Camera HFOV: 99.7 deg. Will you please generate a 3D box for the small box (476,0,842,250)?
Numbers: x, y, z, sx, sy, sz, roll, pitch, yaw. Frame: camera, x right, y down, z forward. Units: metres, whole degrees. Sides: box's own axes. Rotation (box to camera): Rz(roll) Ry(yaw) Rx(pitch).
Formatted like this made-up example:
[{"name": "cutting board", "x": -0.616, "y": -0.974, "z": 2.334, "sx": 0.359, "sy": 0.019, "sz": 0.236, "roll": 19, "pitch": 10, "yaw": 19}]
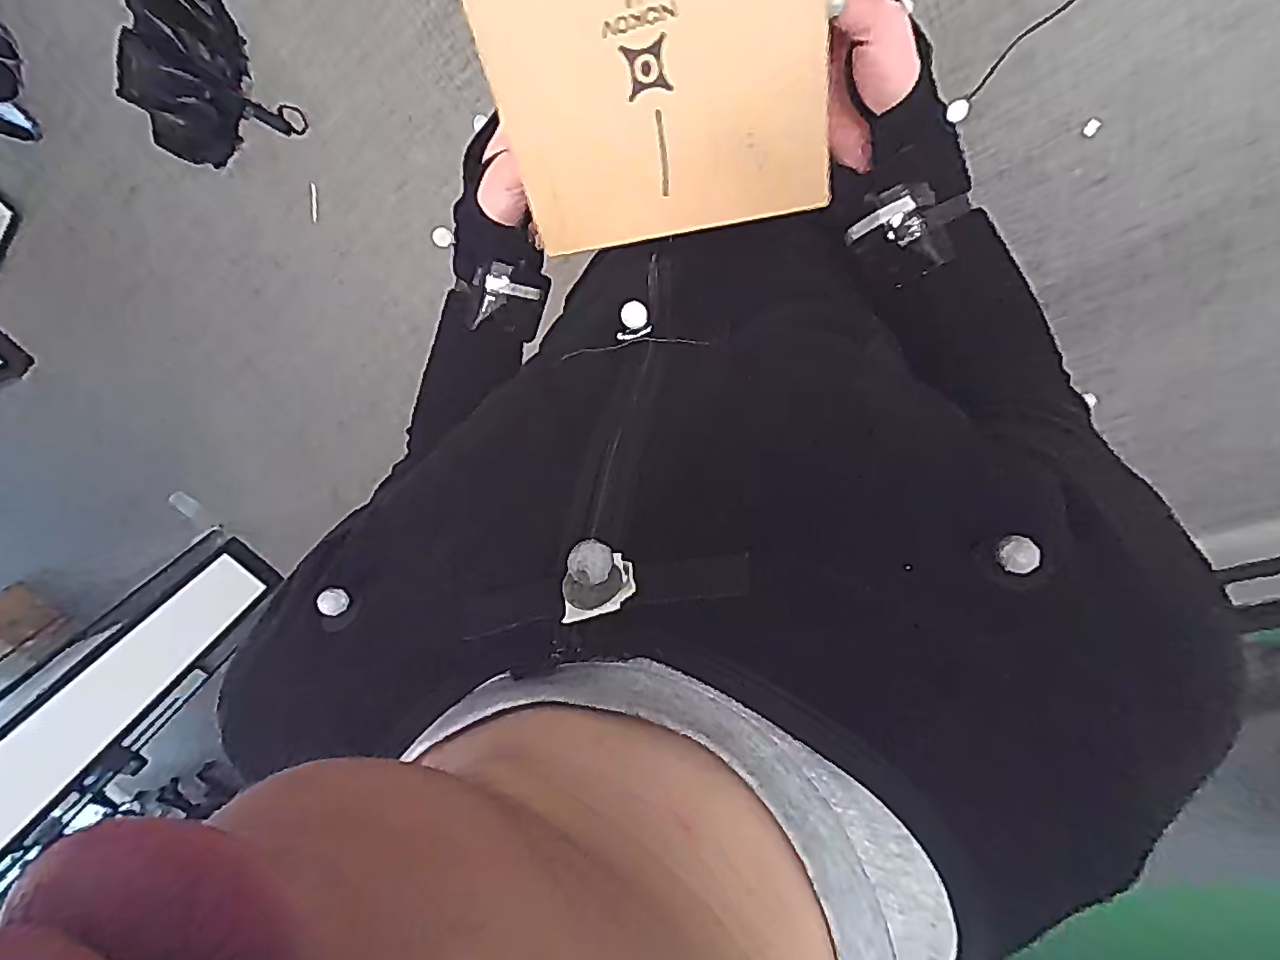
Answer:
[{"name": "small box", "x": 0.020, "y": -0.261, "z": 0.310, "sx": 0.168, "sy": 0.176, "sz": 0.179, "roll": -3, "pitch": 133, "yaw": 16}]
